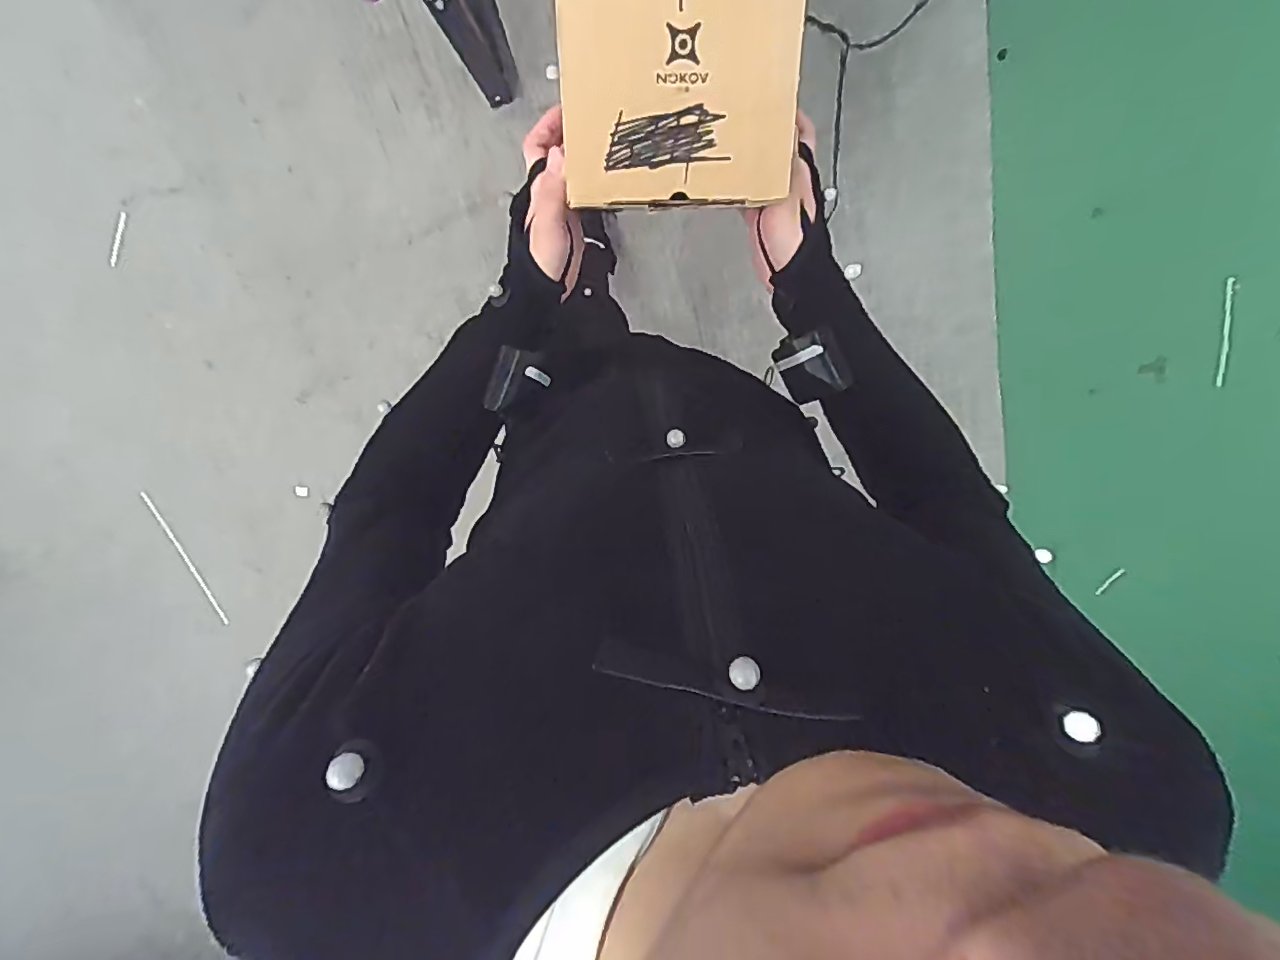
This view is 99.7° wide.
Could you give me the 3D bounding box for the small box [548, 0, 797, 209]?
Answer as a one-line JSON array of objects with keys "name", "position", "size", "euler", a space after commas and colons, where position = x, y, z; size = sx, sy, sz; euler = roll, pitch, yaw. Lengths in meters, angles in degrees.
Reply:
[{"name": "small box", "position": [0.020, -0.318, 0.438], "size": [0.168, 0.176, 0.179], "euler": [-2, 115, -2]}]
